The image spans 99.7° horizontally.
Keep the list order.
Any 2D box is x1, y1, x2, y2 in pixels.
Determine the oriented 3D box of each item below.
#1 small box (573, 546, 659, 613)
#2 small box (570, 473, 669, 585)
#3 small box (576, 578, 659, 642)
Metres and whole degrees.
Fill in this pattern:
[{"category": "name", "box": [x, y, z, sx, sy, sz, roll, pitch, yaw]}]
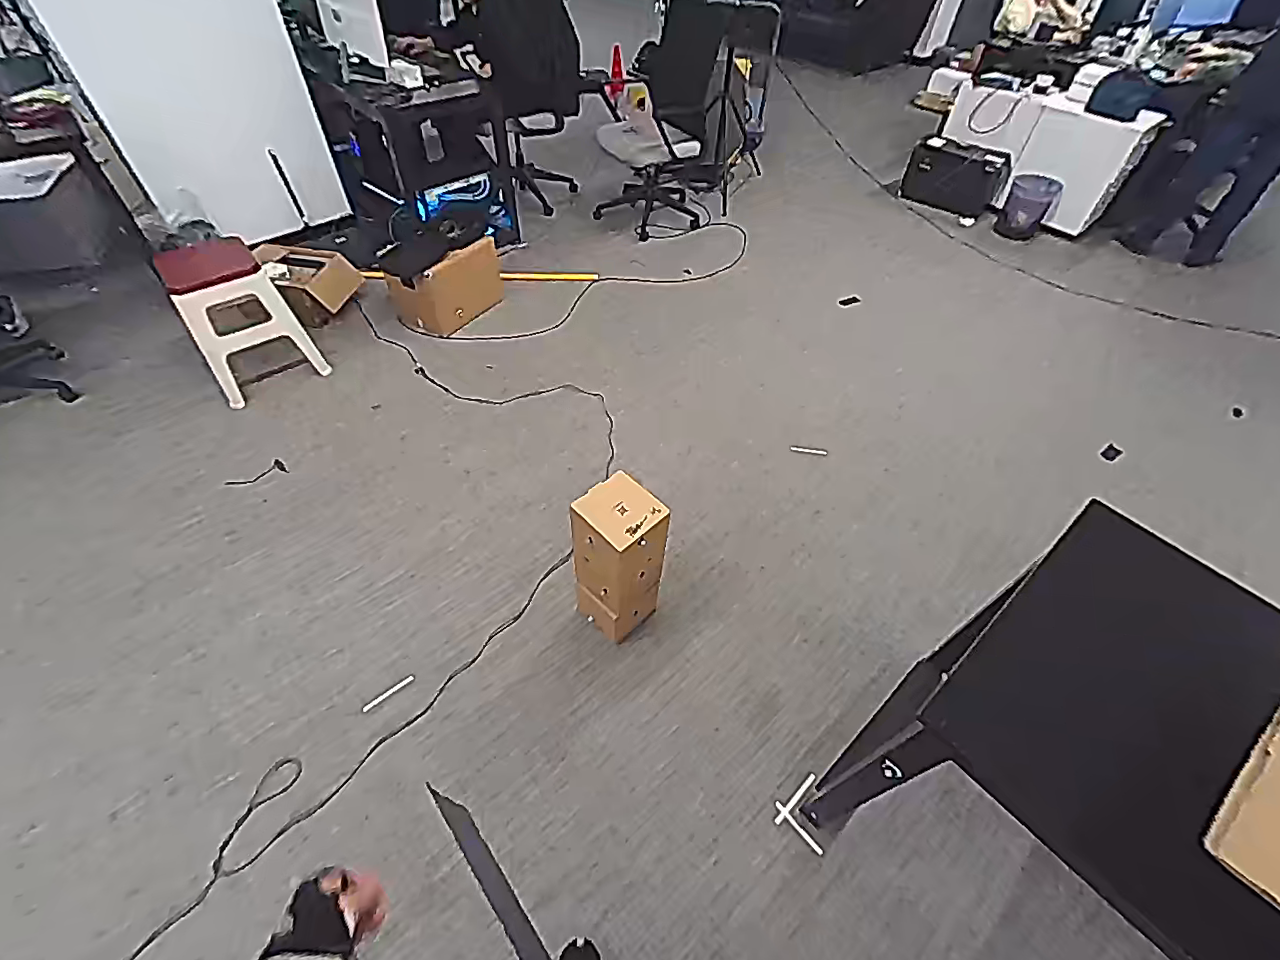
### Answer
[{"category": "small box", "box": [-0.059, 0.223, 1.447, 0.168, 0.176, 0.179, 36, 55, 22]}, {"category": "small box", "box": [-0.052, 0.121, 1.318, 0.179, 0.176, 0.168, 38, 58, 26]}, {"category": "small box", "box": [-0.067, 0.333, 1.566, 0.179, 0.176, 0.168, -37, 60, -28]}]
